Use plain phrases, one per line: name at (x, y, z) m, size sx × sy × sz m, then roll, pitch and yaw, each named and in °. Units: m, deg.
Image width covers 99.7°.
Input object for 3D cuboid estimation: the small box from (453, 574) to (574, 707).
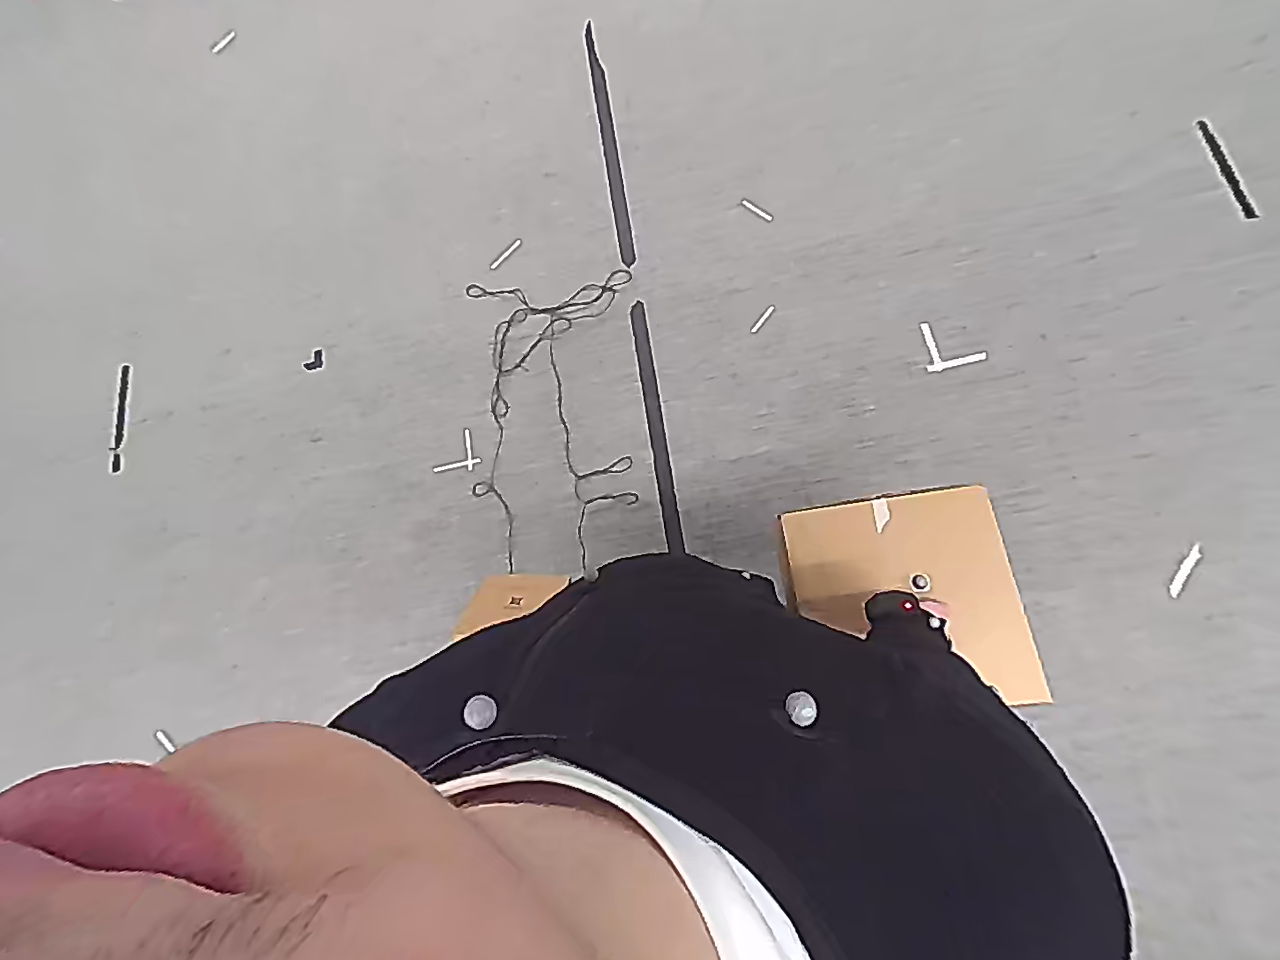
small box at (-0.218, 0.290, 0.988) m, size 0.168 × 0.179 × 0.176 m, roll 1°, pitch 115°, yaw 4°
